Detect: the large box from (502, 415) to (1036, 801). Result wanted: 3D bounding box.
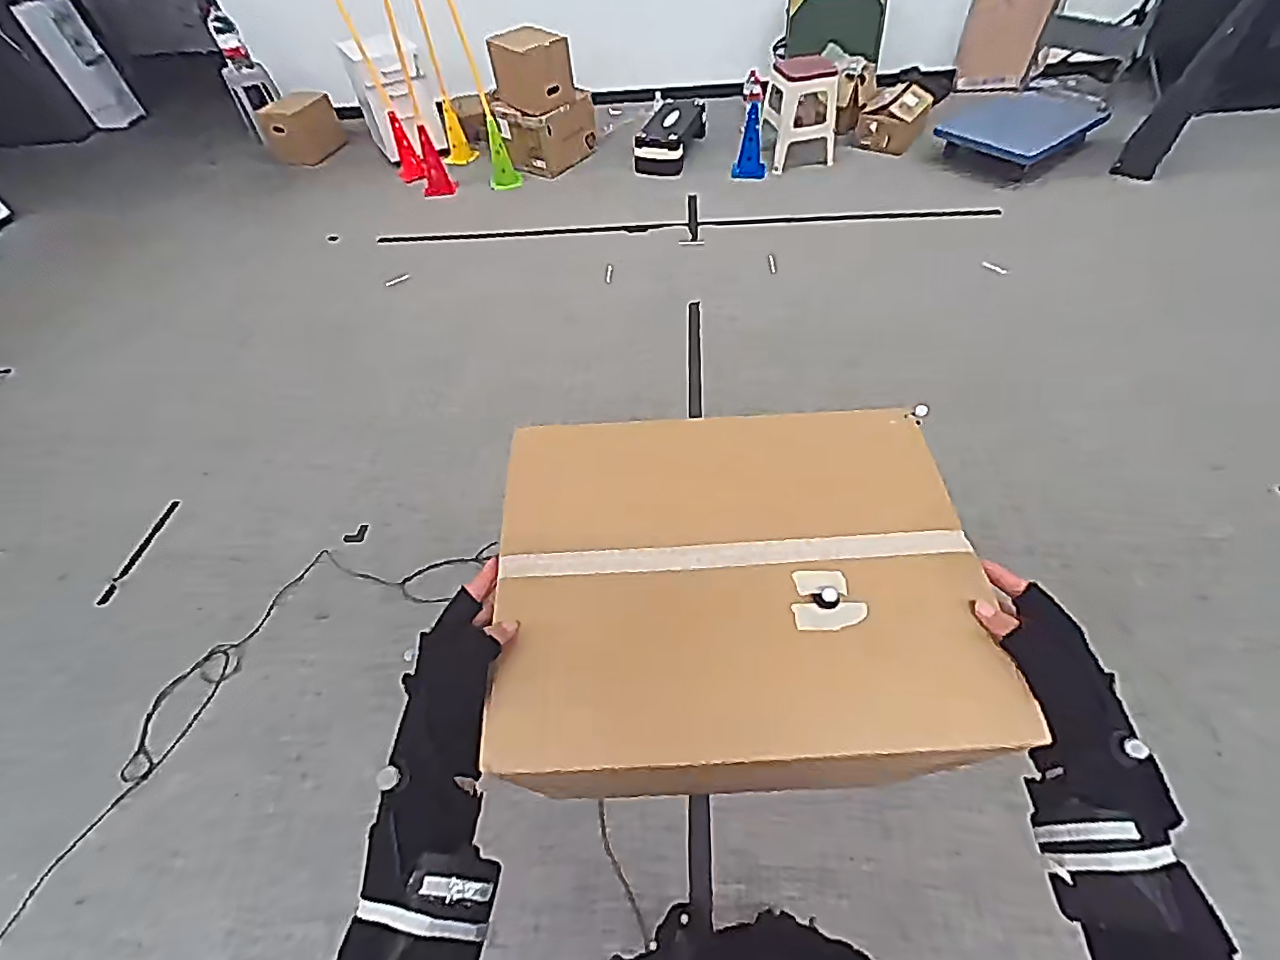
[{"bbox_3d":[0.088,0.153,0.598,0.408,0.320,0.320,-3,57,-1],"label":"large box"}]
